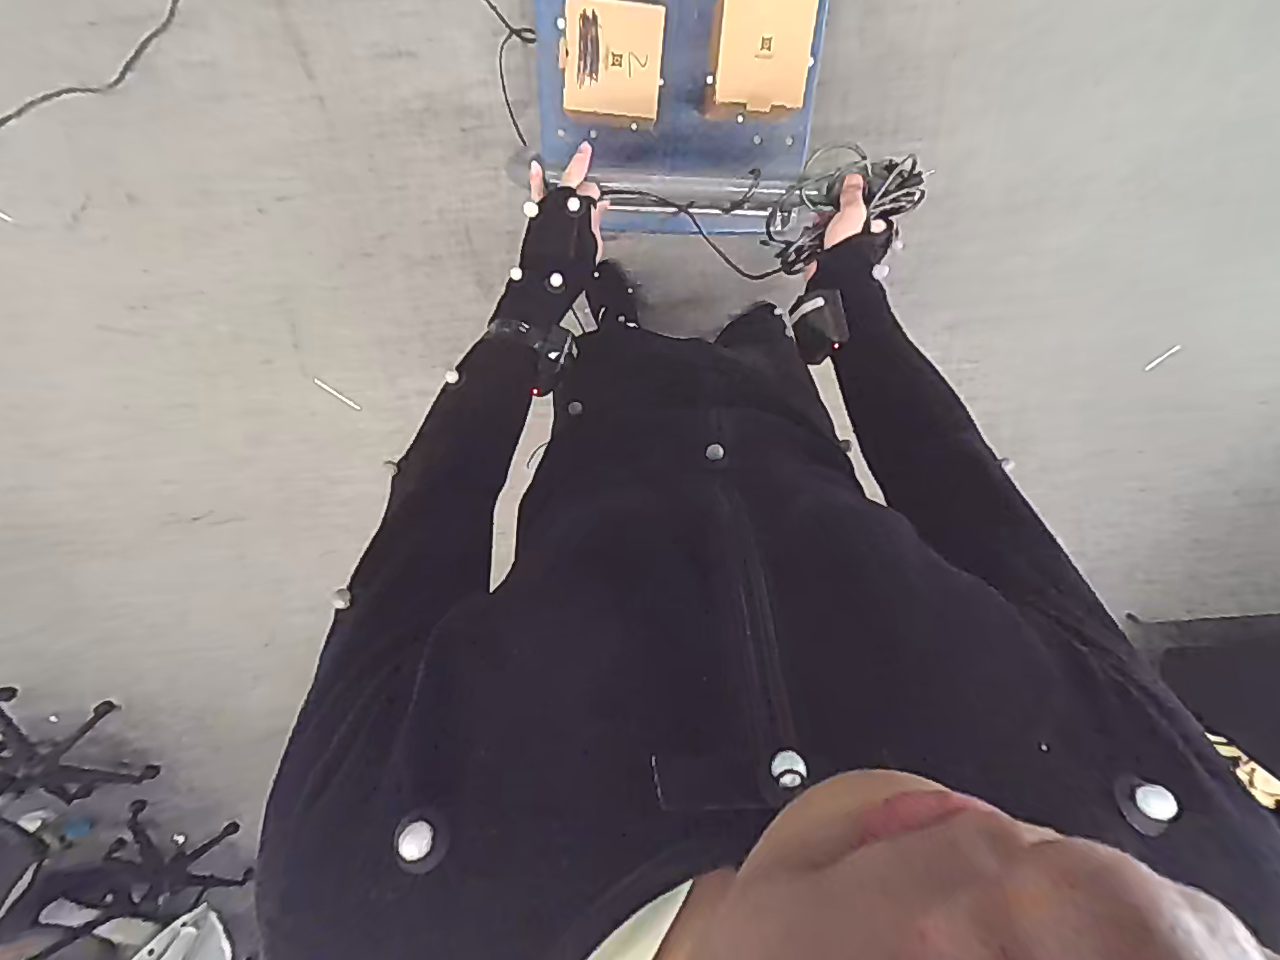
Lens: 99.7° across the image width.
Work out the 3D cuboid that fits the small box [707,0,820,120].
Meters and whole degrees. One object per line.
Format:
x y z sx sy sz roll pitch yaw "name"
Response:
0.224 -0.806 1.029 0.168 0.176 0.179 2 117 -2 "small box"
